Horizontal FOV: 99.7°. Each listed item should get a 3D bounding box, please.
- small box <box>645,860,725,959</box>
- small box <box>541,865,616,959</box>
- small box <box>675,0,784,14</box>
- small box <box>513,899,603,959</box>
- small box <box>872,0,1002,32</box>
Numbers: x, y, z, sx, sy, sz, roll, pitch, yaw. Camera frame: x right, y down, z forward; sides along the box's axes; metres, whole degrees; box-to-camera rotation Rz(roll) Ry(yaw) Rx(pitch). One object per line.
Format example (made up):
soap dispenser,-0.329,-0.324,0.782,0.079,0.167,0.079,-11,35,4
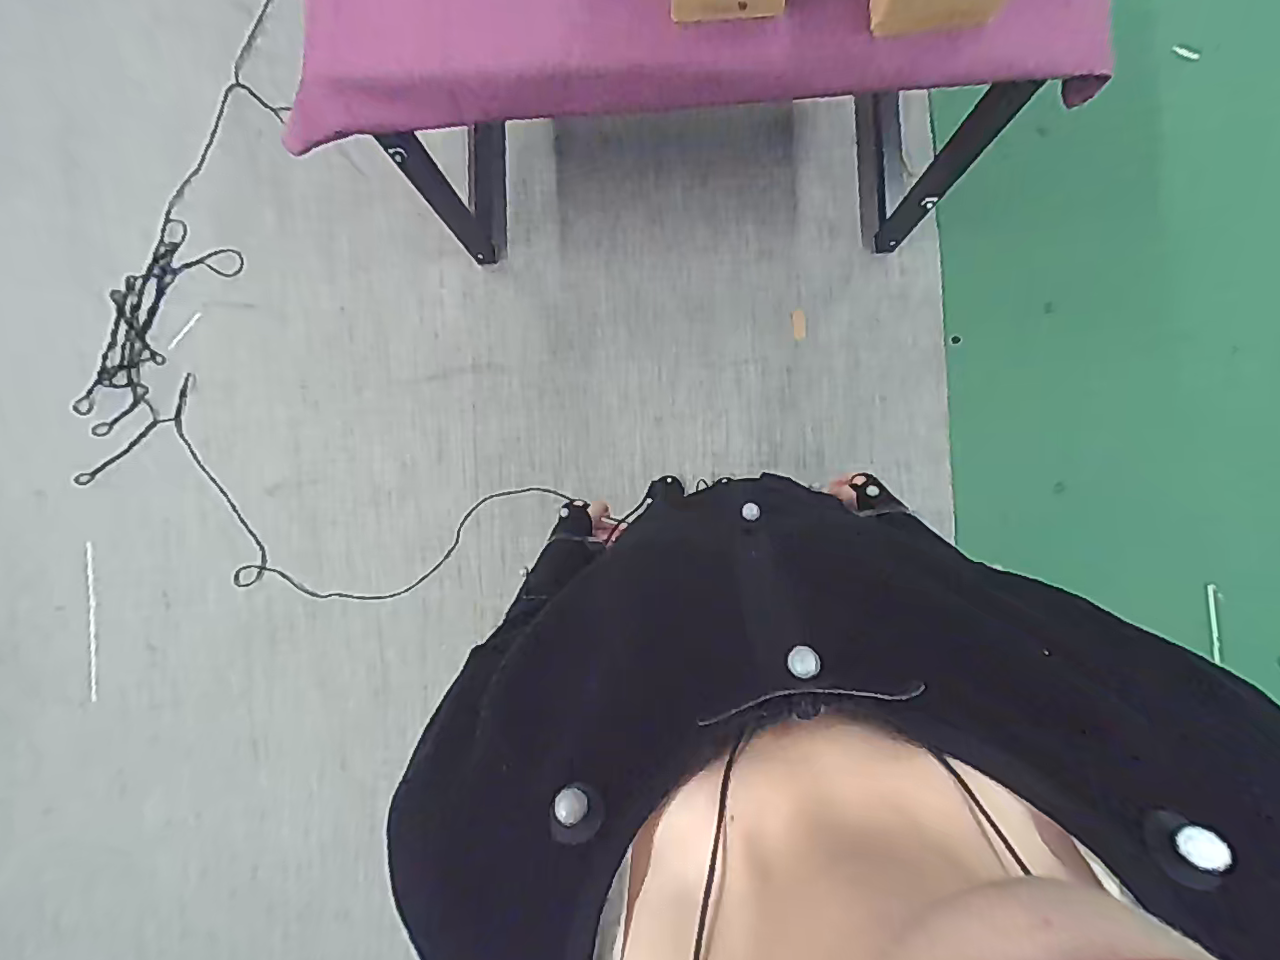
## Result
small box,0.112,1.089,1.356,0.179,0.176,0.168,-8,86,5
small box,-0.158,1.119,1.372,0.179,0.176,0.168,-10,86,2
small box,0.129,-0.785,0.738,0.168,0.176,0.179,0,87,3
small box,-0.176,1.088,1.211,0.168,0.176,0.179,-5,87,3
small box,0.426,-0.750,0.720,0.179,0.176,0.168,-3,89,5
